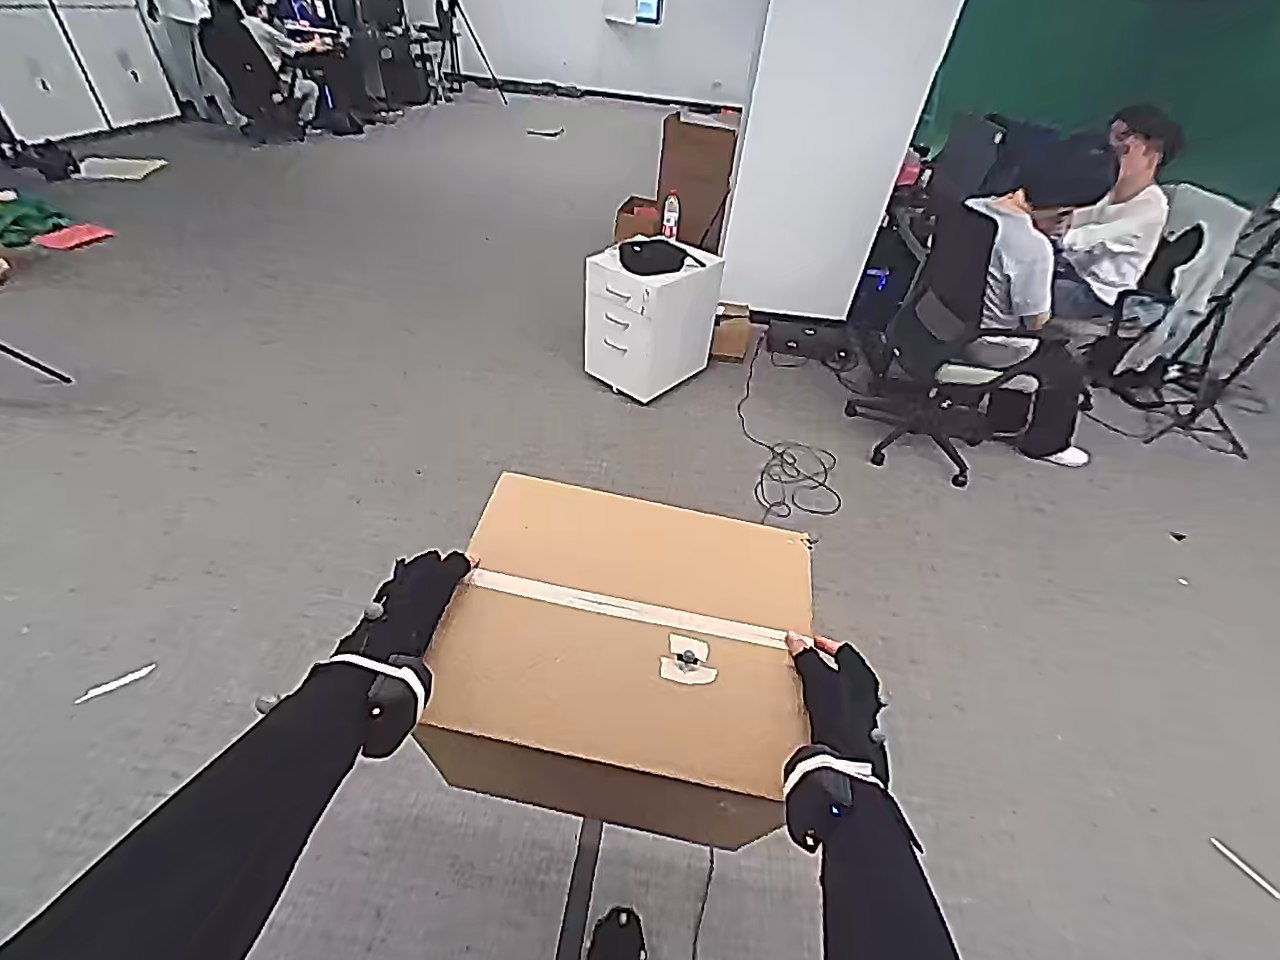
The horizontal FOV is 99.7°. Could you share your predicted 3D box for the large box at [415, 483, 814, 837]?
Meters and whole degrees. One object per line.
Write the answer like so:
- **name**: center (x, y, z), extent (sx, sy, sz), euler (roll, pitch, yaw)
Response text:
- **large box**: center (-0.024, 0.247, 0.731), extent (0.408, 0.320, 0.320), euler (12, 49, 1)
